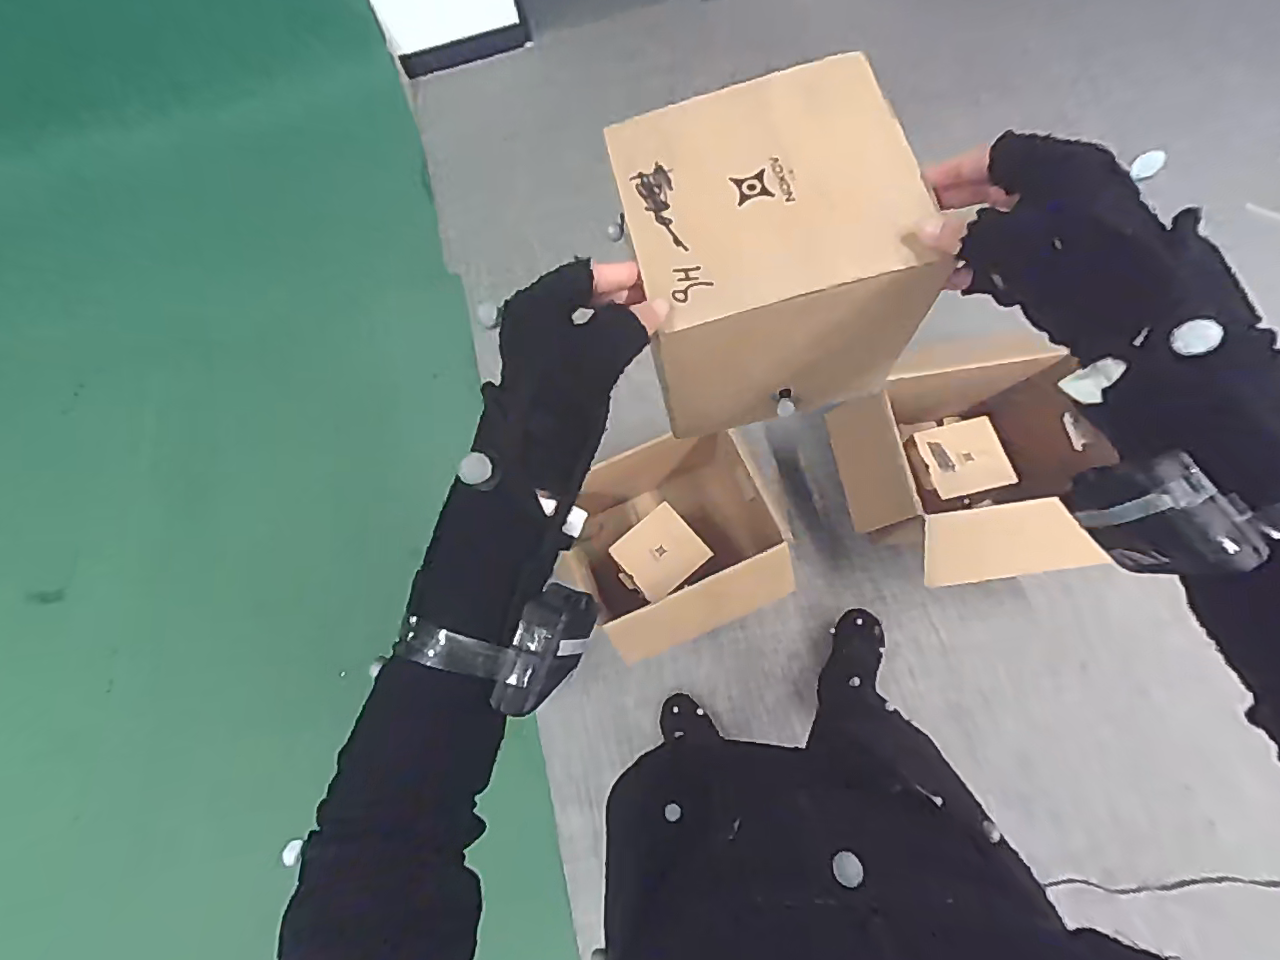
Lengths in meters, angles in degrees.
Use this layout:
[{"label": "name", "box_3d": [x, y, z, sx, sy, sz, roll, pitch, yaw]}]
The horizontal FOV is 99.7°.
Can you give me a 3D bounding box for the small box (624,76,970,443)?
[{"label": "small box", "box_3d": [0.096, -0.146, 0.407, 0.179, 0.176, 0.168, -14, 70, 2]}]
